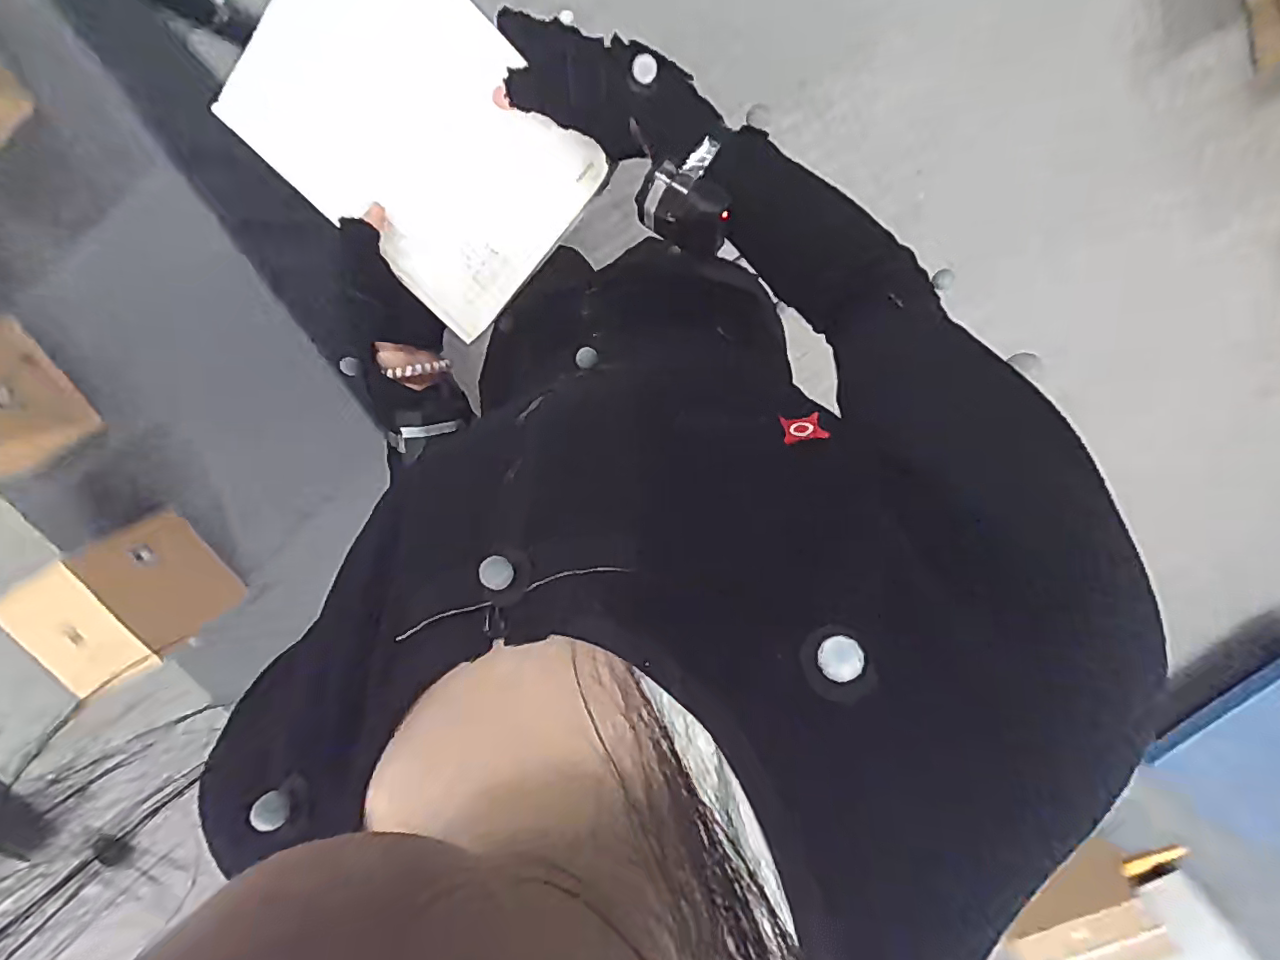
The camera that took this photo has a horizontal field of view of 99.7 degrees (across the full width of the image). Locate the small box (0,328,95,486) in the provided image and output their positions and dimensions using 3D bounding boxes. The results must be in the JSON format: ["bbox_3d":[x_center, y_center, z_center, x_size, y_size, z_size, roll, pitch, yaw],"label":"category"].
[{"bbox_3d":[-0.885,-0.081,0.702,0.179,0.176,0.168,-26,107,13],"label":"small box"}]

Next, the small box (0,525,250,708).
[{"bbox_3d":[-0.736,0.186,0.789,0.168,0.176,0.179,-27,105,13],"label":"small box"}]
